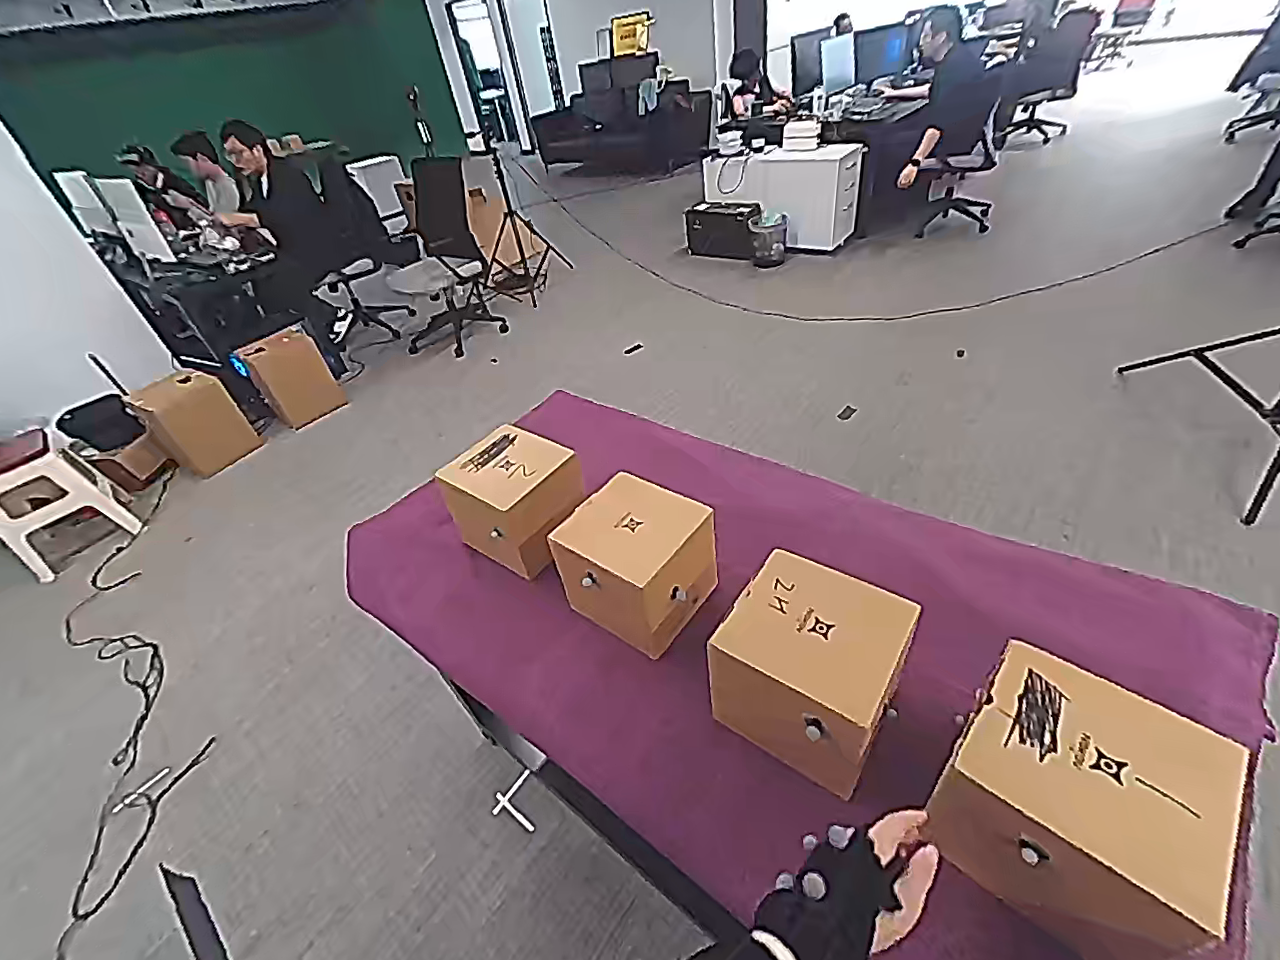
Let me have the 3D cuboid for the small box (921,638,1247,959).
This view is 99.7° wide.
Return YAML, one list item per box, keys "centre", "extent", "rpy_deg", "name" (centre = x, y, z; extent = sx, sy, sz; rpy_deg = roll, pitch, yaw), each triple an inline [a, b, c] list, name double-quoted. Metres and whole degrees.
- centre: [0.390, 0.292, 0.502]
  extent: [0.179, 0.176, 0.168]
  rpy_deg: [27, 51, 36]
  name: "small box"

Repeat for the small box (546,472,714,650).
- centre: [-0.005, 0.121, 0.801]
  extent: [0.179, 0.176, 0.168]
  rpy_deg: [22, 49, 34]
  name: "small box"

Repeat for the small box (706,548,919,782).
- centre: [0.198, 0.217, 0.635]
  extent: [0.179, 0.176, 0.168]
  rpy_deg: [20, 47, 33]
  name: "small box"
